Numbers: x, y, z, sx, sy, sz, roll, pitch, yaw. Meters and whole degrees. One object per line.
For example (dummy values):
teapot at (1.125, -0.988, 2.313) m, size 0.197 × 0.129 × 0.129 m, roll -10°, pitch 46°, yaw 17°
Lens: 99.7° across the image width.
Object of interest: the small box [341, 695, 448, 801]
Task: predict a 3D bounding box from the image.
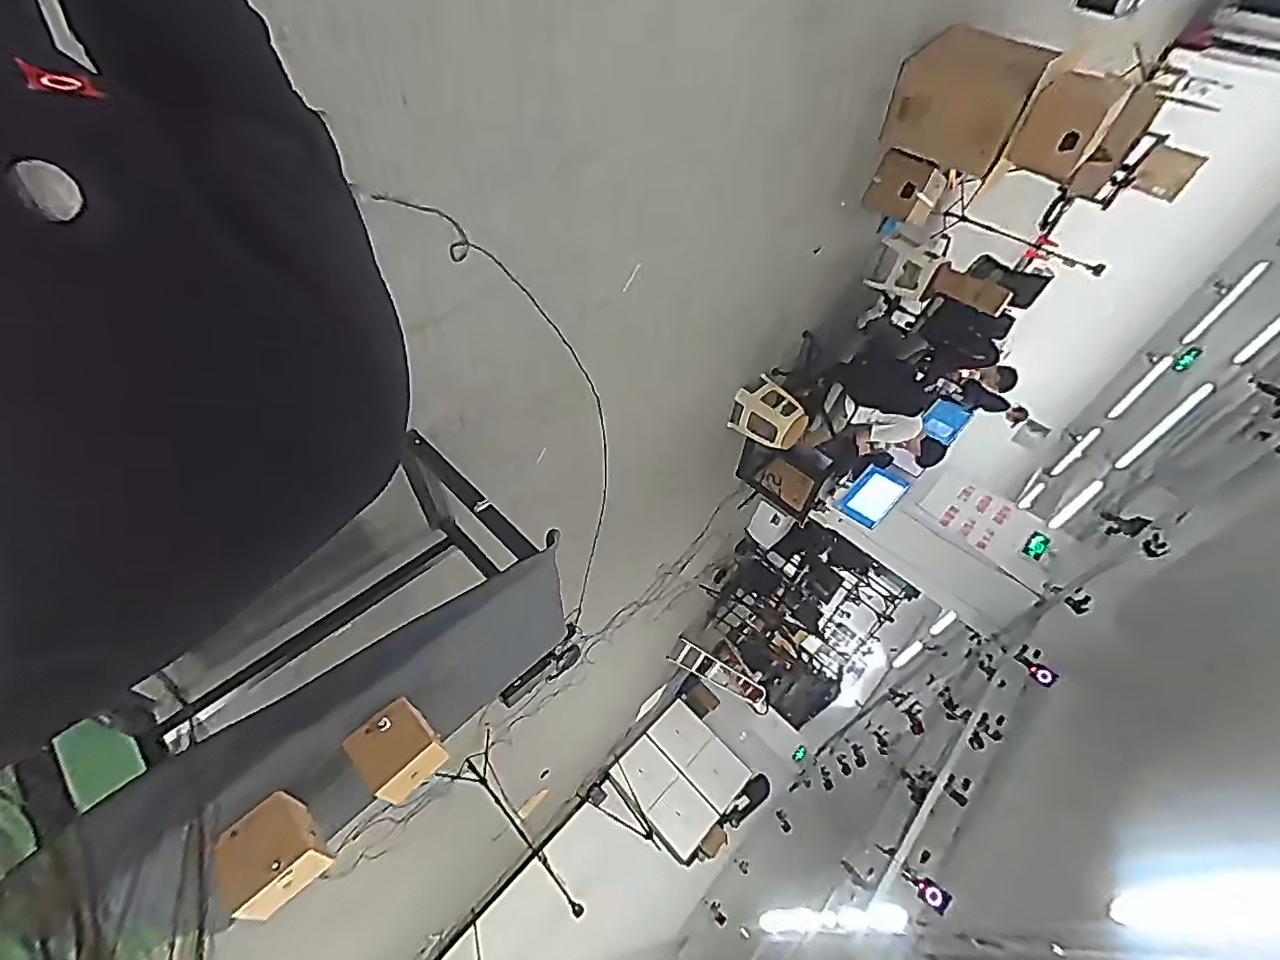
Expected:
small box at (-0.634, 0.691, 1.404) m, size 0.168 × 0.176 × 0.179 m, roll -40°, pitch 153°, yaw -27°

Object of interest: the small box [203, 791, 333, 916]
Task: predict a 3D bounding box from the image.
small box at (-0.853, 0.857, 1.248) m, size 0.168 × 0.176 × 0.179 m, roll -36°, pitch 153°, yaw -32°
